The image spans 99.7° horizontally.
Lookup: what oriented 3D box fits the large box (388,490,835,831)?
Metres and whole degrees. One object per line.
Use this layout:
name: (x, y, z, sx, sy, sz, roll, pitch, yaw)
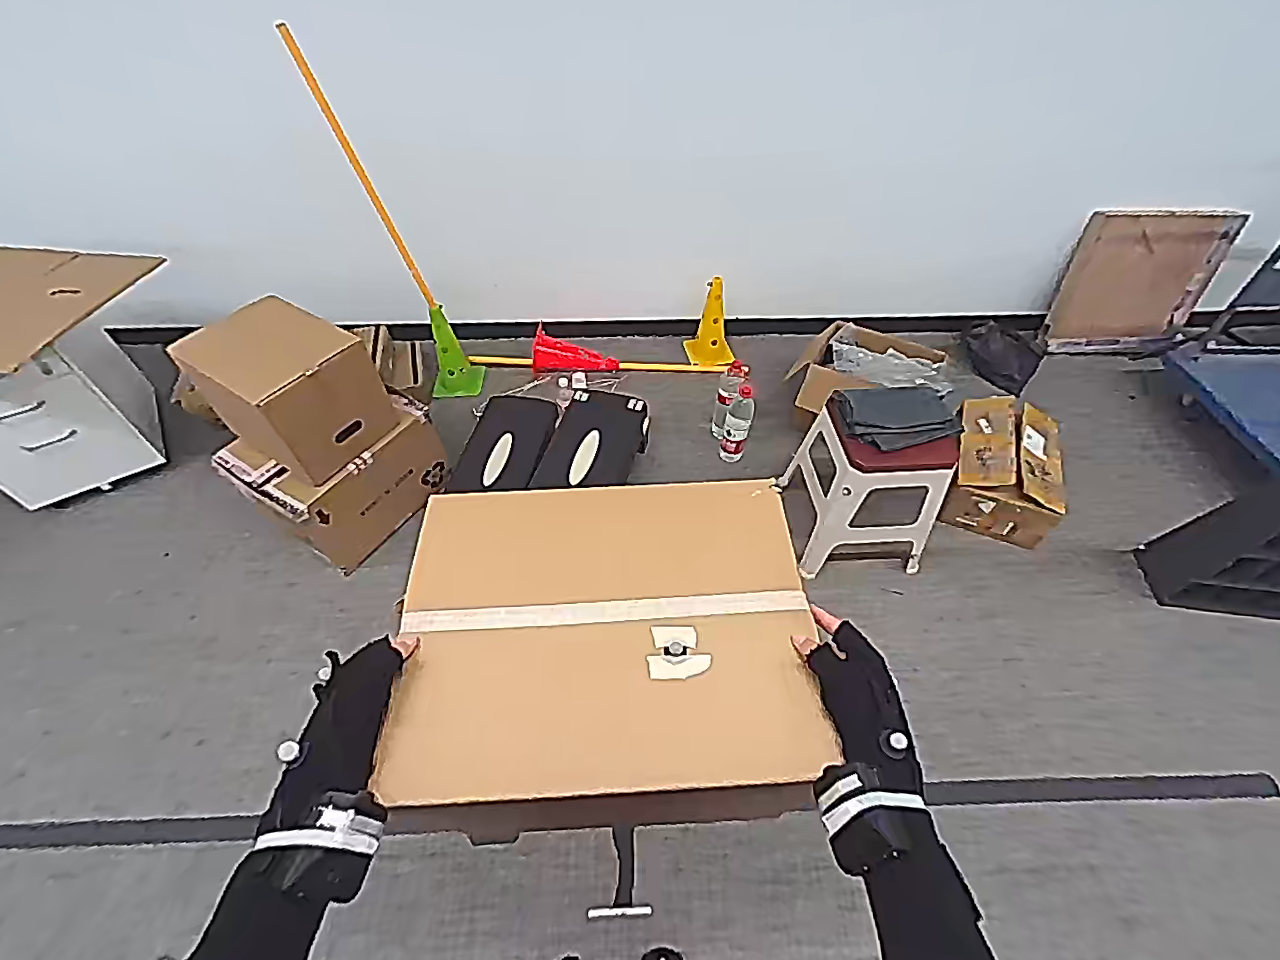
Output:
large box: (-0.033, 0.233, 0.679, 0.408, 0.320, 0.320, -2, 54, -2)
